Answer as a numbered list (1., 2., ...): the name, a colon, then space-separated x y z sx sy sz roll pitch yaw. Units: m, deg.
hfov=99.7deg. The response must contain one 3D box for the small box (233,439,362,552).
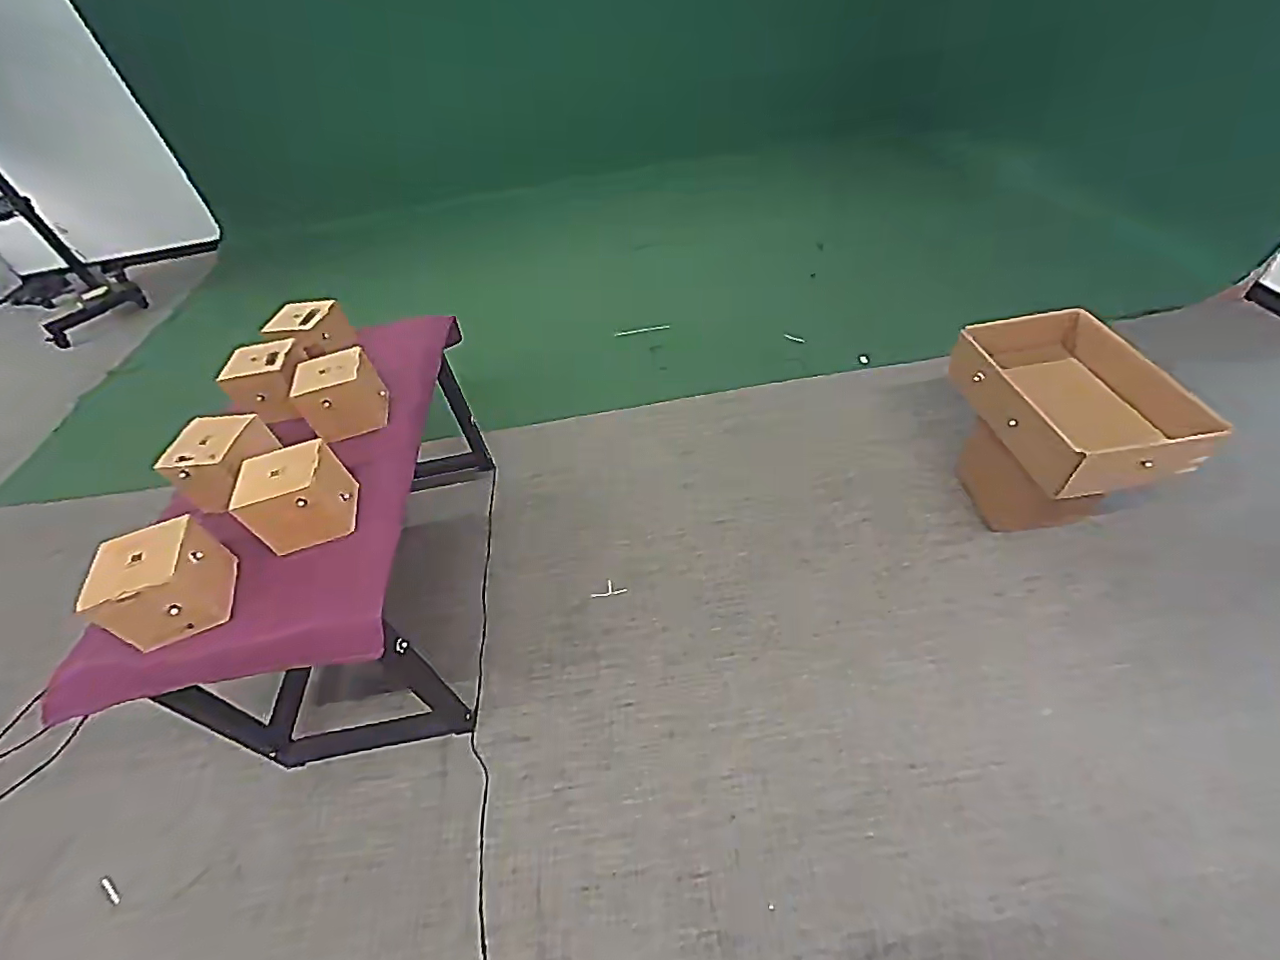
1. small box: -0.770 0.039 1.236 0.179 0.176 0.168 -18 46 -6

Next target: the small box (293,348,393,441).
1. small box: -0.810 -0.231 1.492 0.179 0.176 0.168 -17 47 -5

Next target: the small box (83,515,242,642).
1. small box: -0.959 0.209 1.108 0.168 0.176 0.179 -20 47 -11
